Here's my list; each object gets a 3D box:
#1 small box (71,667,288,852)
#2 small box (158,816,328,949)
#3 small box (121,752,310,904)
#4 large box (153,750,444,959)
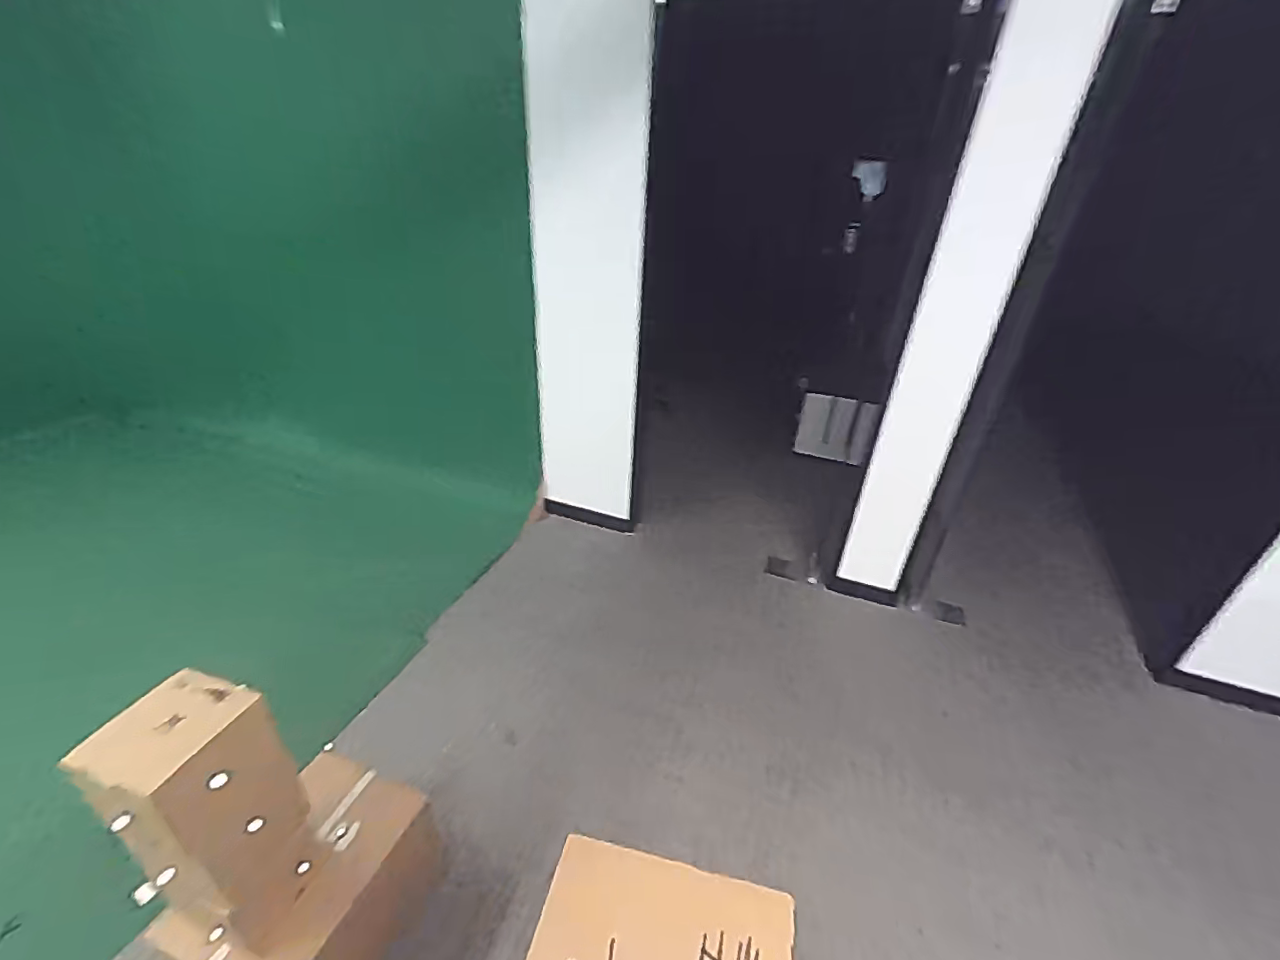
[{"bbox_3d":[-0.699,0.434,0.847,0.168,0.176,0.179,12,31,14],"label":"small box"},{"bbox_3d":[-0.722,0.721,1.005,0.179,0.176,0.168,12,30,16],"label":"small box"},{"bbox_3d":[-0.709,0.576,0.930,0.168,0.176,0.179,11,30,12],"label":"small box"},{"bbox_3d":[-0.695,0.904,1.179,0.320,0.320,0.408,14,30,16],"label":"large box"}]
